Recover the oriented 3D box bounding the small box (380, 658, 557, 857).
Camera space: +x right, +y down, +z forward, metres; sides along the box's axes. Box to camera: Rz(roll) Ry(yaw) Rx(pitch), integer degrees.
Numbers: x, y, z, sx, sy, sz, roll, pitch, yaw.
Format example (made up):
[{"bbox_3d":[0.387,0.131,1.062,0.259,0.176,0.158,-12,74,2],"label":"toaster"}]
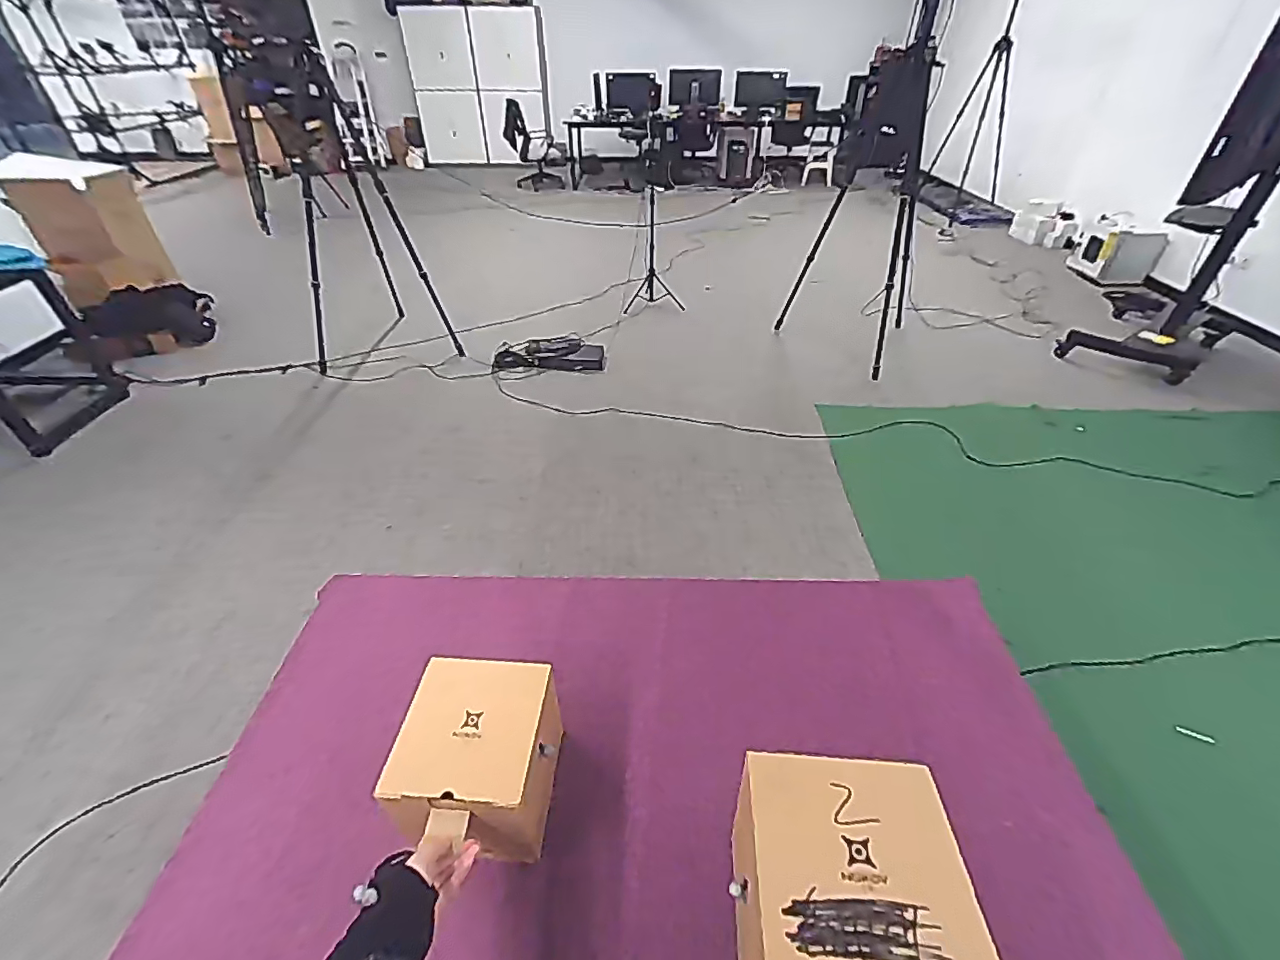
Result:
[{"bbox_3d":[-0.208,0.365,0.718,0.168,0.176,0.179,3,39,3],"label":"small box"}]
